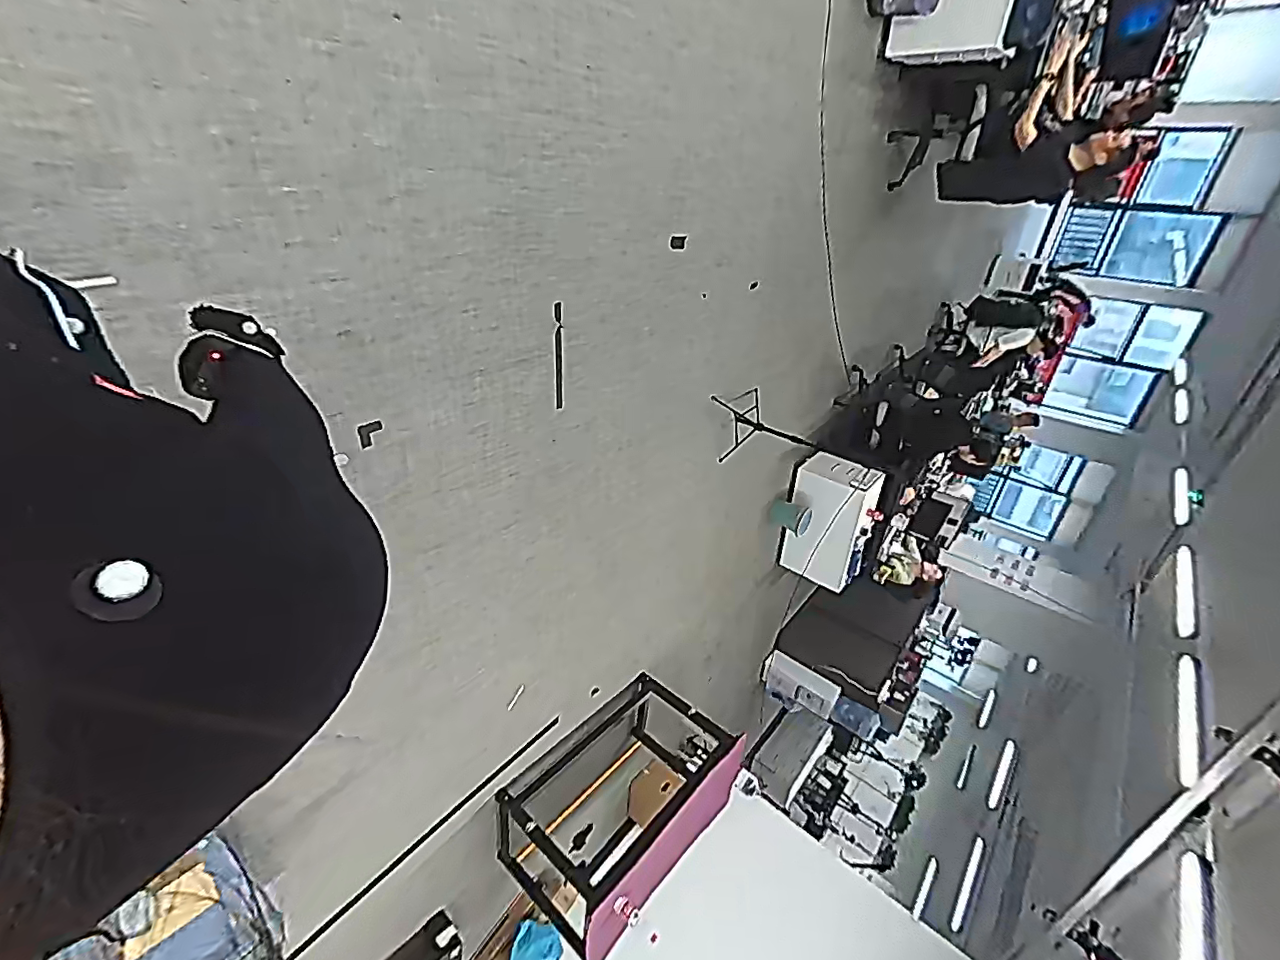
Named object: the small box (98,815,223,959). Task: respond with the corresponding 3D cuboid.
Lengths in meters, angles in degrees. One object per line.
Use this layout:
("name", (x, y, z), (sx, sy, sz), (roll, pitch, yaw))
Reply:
("small box", (-1.136, 0.954, 1.281), (0.179, 0.176, 0.168), (-26, 131, -45))
